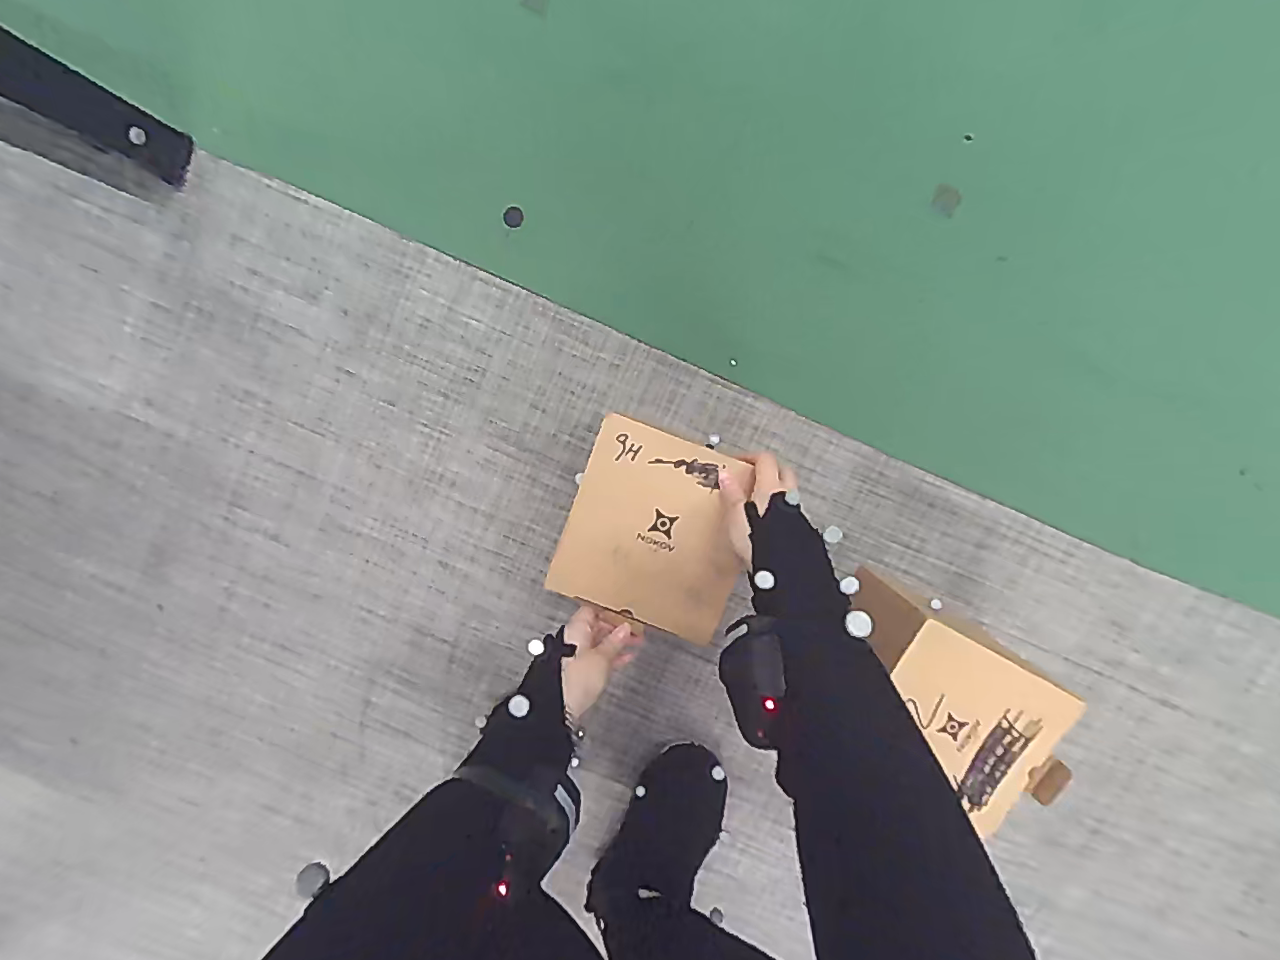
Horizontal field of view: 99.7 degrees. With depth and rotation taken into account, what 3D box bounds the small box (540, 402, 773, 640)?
[{"bbox_3d":[0.016,0.029,0.561,0.168,0.176,0.179,21,98,-1],"label":"small box"}]
